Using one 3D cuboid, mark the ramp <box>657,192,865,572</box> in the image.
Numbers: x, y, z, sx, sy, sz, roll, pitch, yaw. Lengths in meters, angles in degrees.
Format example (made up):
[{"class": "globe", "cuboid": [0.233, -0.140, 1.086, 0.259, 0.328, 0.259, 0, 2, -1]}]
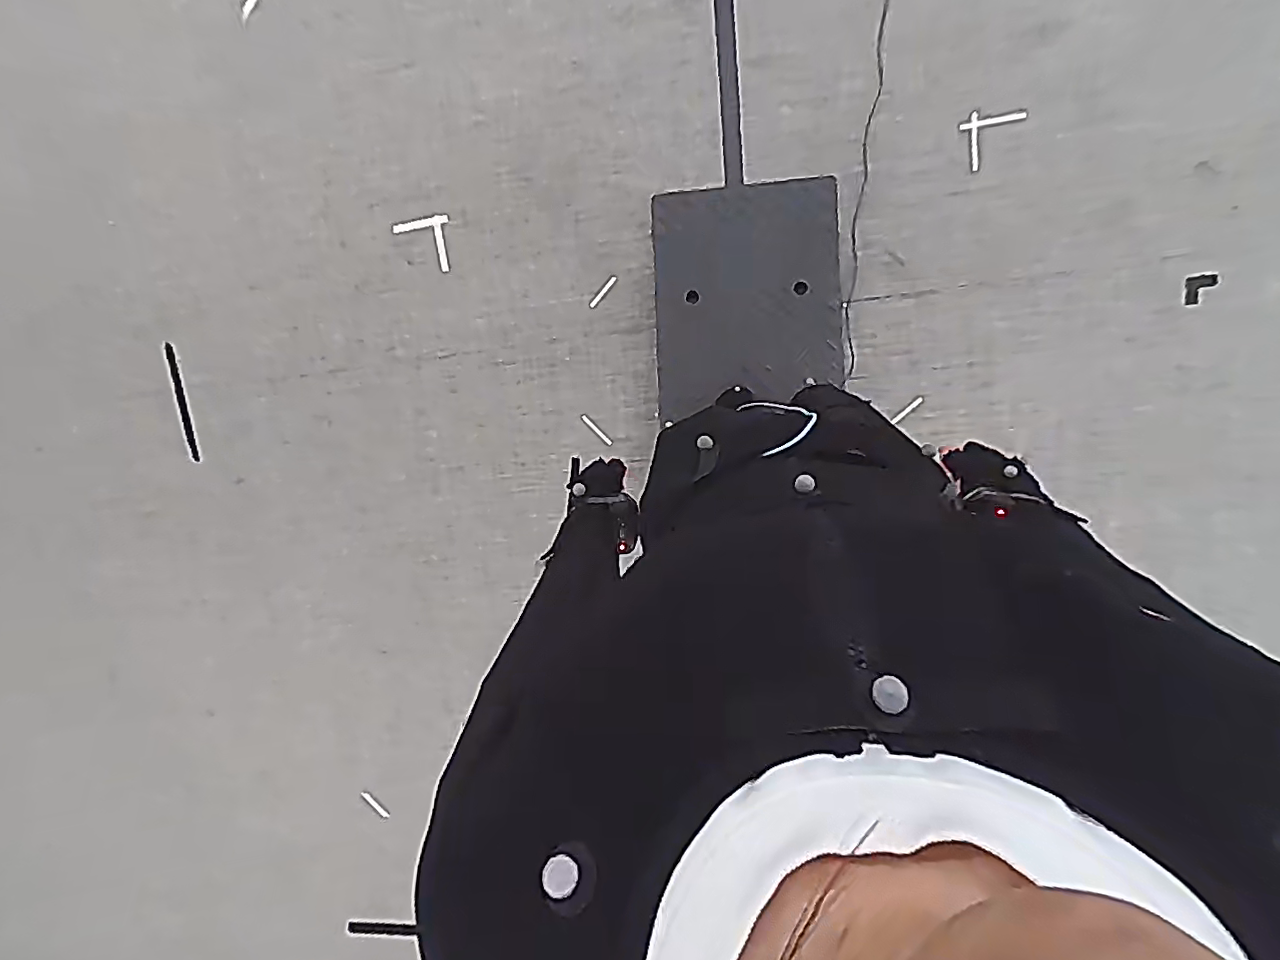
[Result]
[{"class": "ramp", "cuboid": [0.310, -0.261, 1.459, 0.509, 0.206, 0.991, -5, 96, 10]}]
